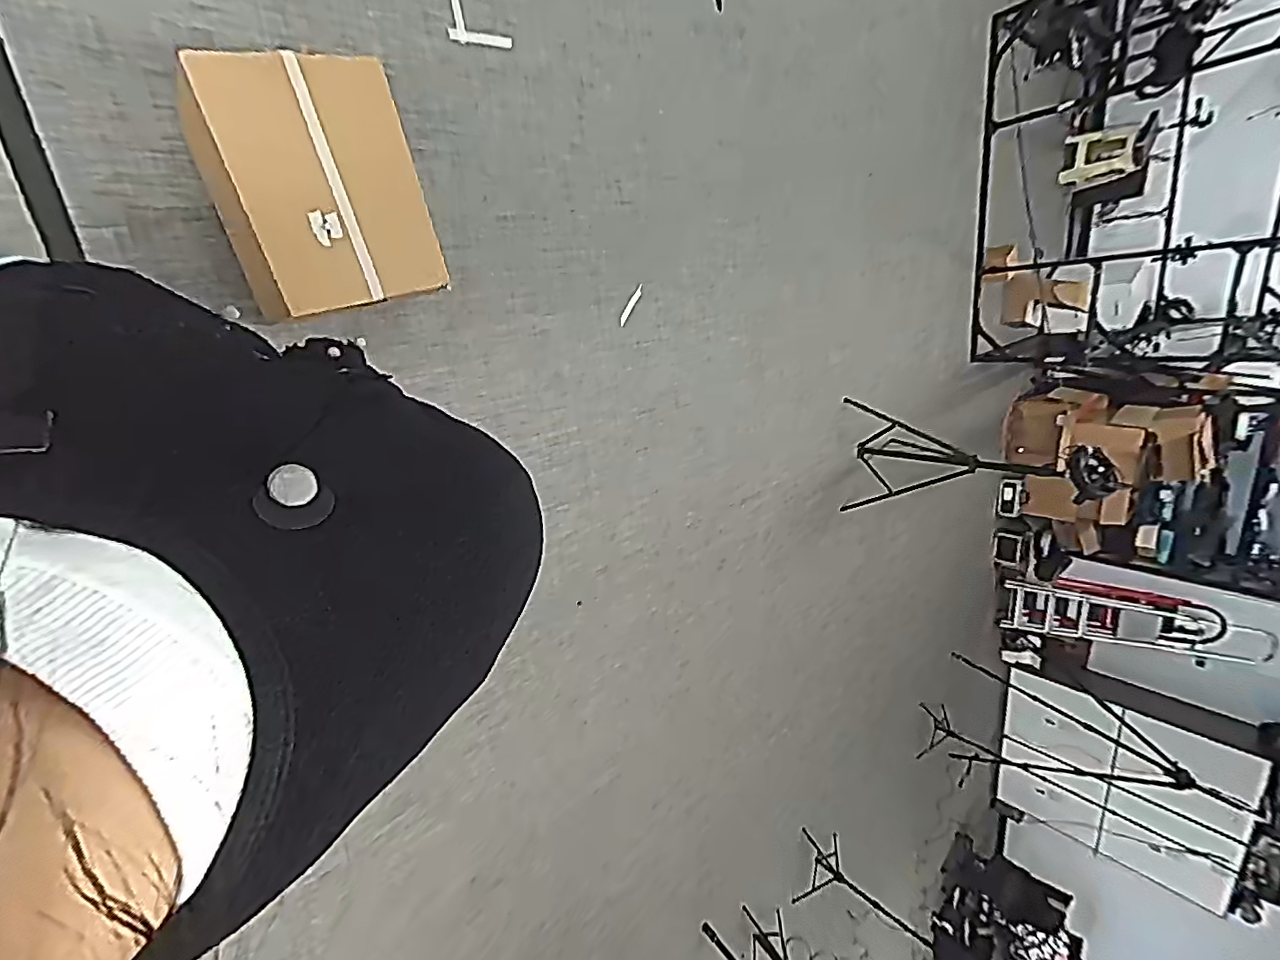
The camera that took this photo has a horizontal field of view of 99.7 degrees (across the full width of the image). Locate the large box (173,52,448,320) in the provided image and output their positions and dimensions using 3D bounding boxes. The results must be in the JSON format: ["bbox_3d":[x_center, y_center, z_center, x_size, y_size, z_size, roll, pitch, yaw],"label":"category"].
[{"bbox_3d":[-0.655,-0.564,1.093,0.320,0.320,0.408,-28,117,-33],"label":"large box"}]
